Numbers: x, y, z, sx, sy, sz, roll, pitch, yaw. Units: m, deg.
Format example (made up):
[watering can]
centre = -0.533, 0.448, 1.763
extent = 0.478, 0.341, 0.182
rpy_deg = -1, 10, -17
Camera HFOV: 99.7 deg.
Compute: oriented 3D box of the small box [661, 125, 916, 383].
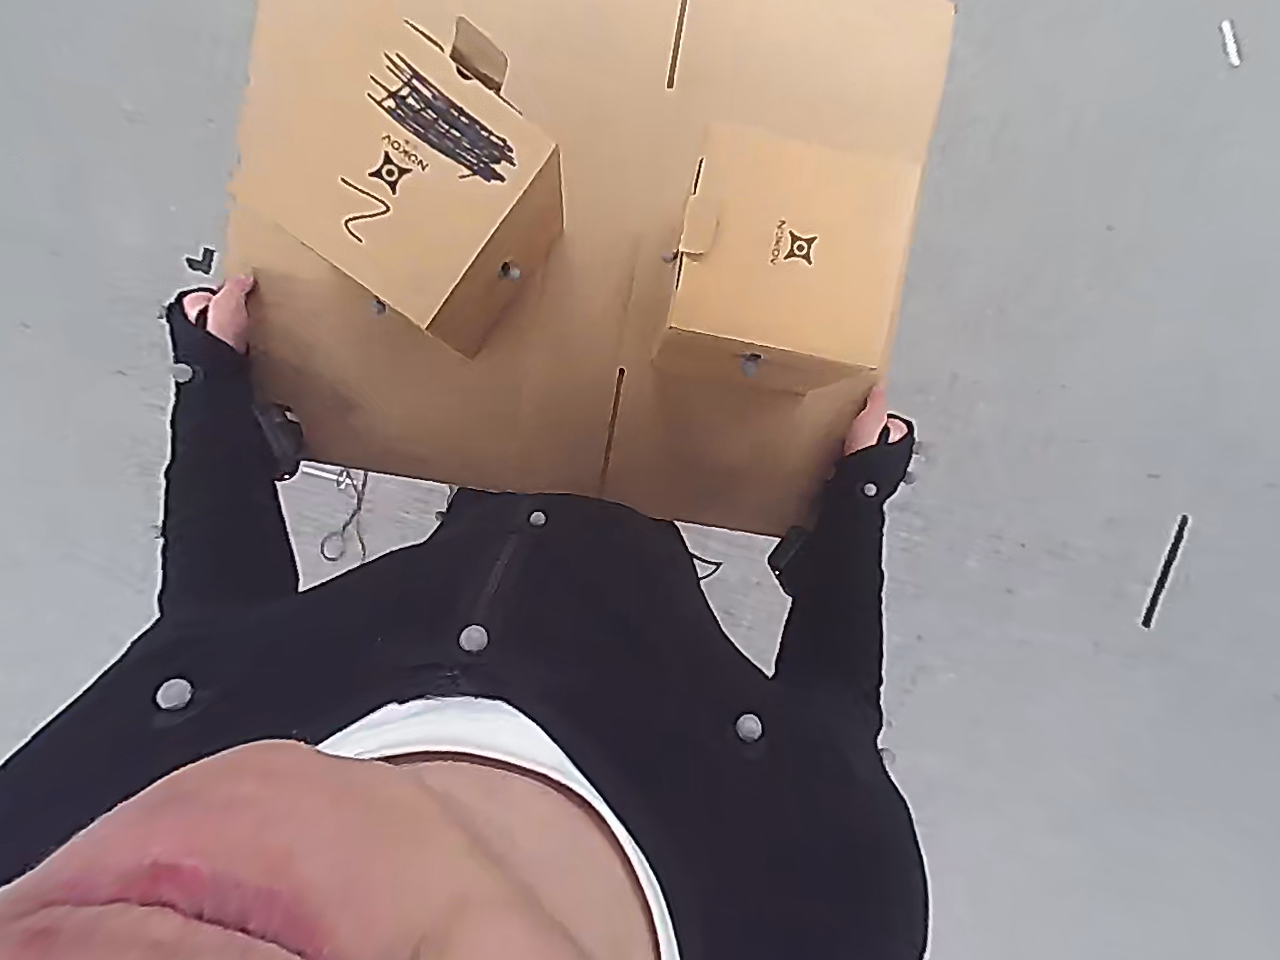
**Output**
[small box]
centre = 0.124, -0.195, 0.522
extent = 0.179, 0.176, 0.168
rpy_deg = 11, 92, -2
